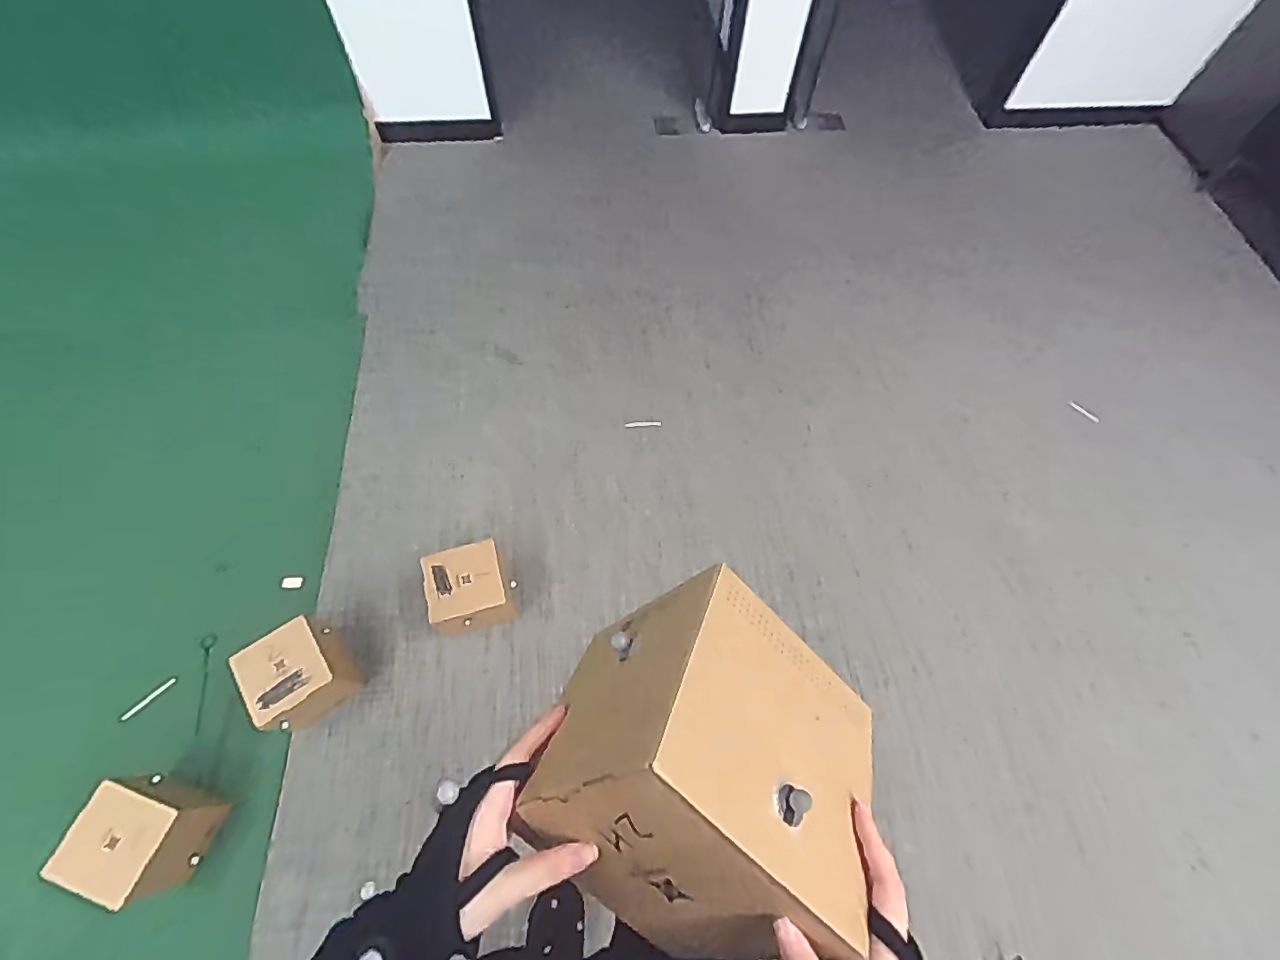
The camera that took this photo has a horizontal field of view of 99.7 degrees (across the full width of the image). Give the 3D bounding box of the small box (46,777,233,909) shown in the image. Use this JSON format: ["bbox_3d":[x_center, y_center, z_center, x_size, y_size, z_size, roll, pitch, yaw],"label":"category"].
[{"bbox_3d":[-0.988,0.716,1.087,0.179,0.176,0.168,18,64,7],"label":"small box"}]

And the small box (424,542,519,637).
[{"bbox_3d":[-0.410,0.274,1.329,0.179,0.176,0.168,-14,65,-10],"label":"small box"}]
